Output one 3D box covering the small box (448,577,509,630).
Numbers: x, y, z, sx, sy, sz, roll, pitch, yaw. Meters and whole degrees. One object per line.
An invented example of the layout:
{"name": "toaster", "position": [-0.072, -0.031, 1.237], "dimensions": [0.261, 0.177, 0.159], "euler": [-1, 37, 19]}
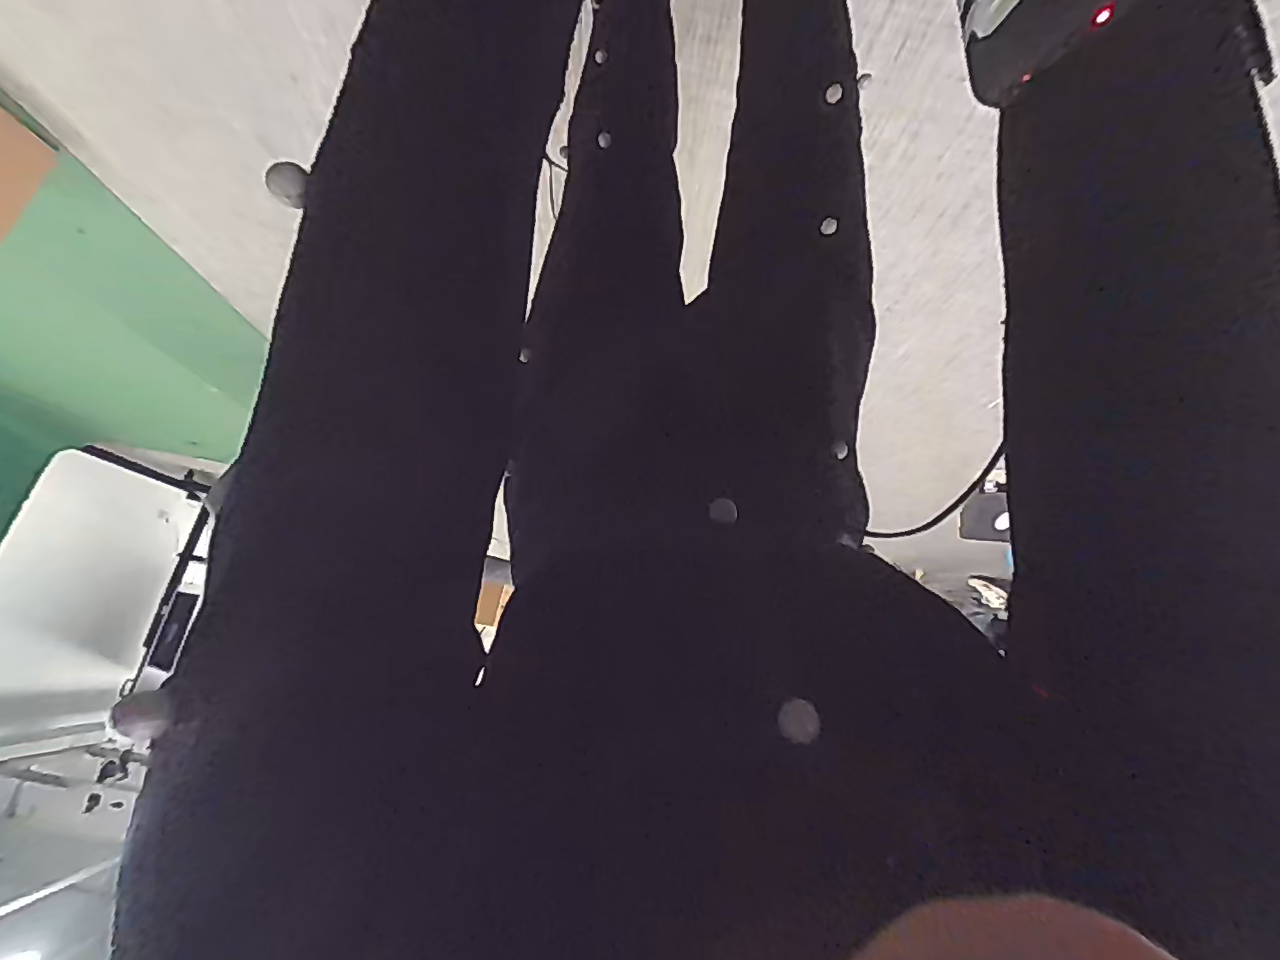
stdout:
{"name": "small box", "position": [-0.615, 0.477, 2.093], "dimensions": [0.179, 0.176, 0.168], "euler": [12, 161, 1]}
